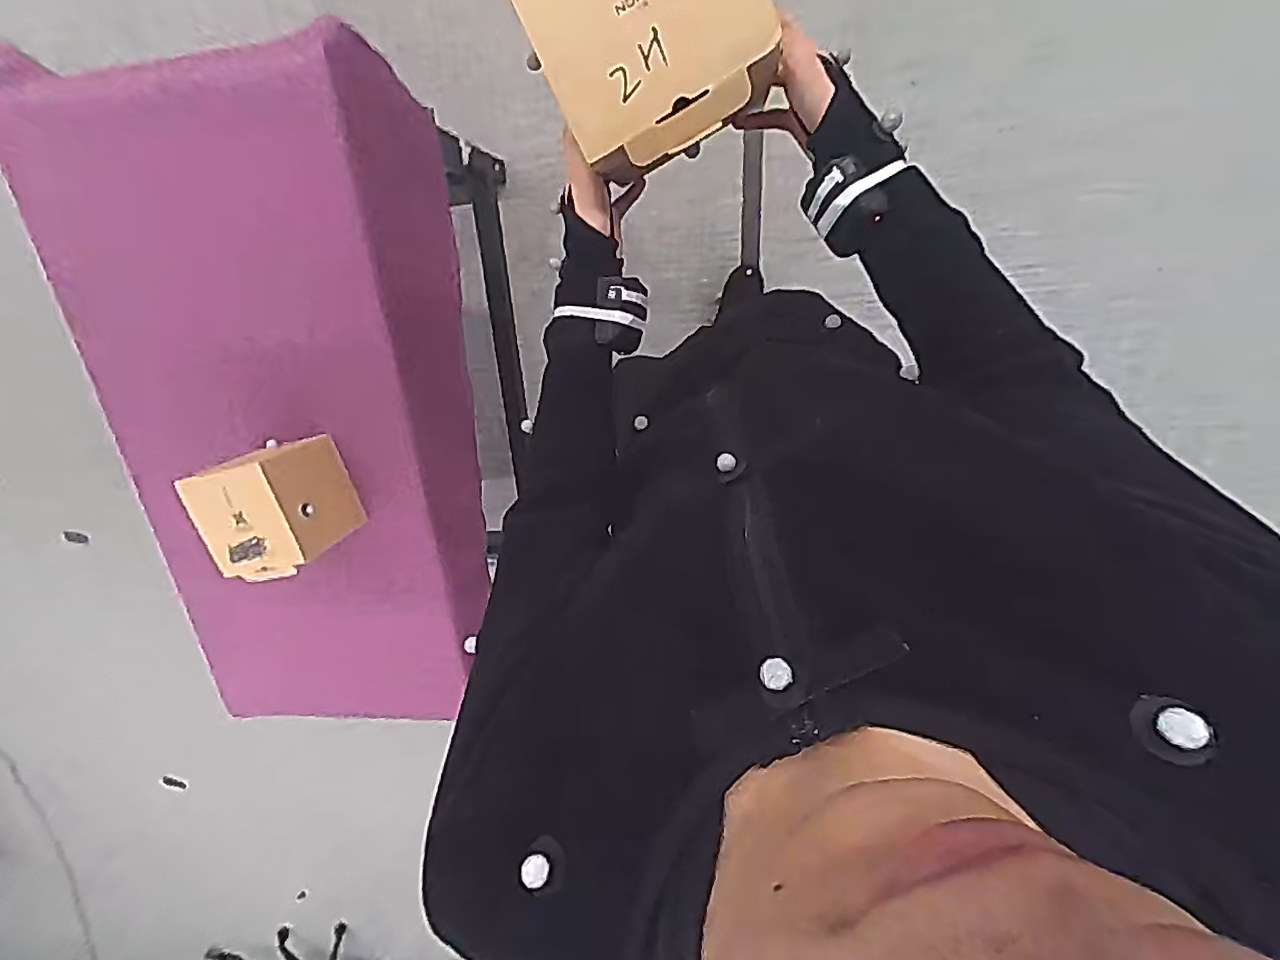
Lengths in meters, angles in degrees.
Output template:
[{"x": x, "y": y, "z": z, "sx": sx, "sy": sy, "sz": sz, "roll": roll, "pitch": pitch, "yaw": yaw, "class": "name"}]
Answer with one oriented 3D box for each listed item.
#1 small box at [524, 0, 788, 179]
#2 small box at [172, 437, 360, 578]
[{"x": 0.007, "y": -0.385, "z": 0.454, "sx": 0.168, "sy": 0.176, "sz": 0.179, "roll": -22, "pitch": 109, "yaw": 16, "class": "small box"}, {"x": -0.623, "y": 0.042, "z": 0.927, "sx": 0.168, "sy": 0.176, "sz": 0.179, "roll": -11, "pitch": 108, "yaw": 11, "class": "small box"}]
